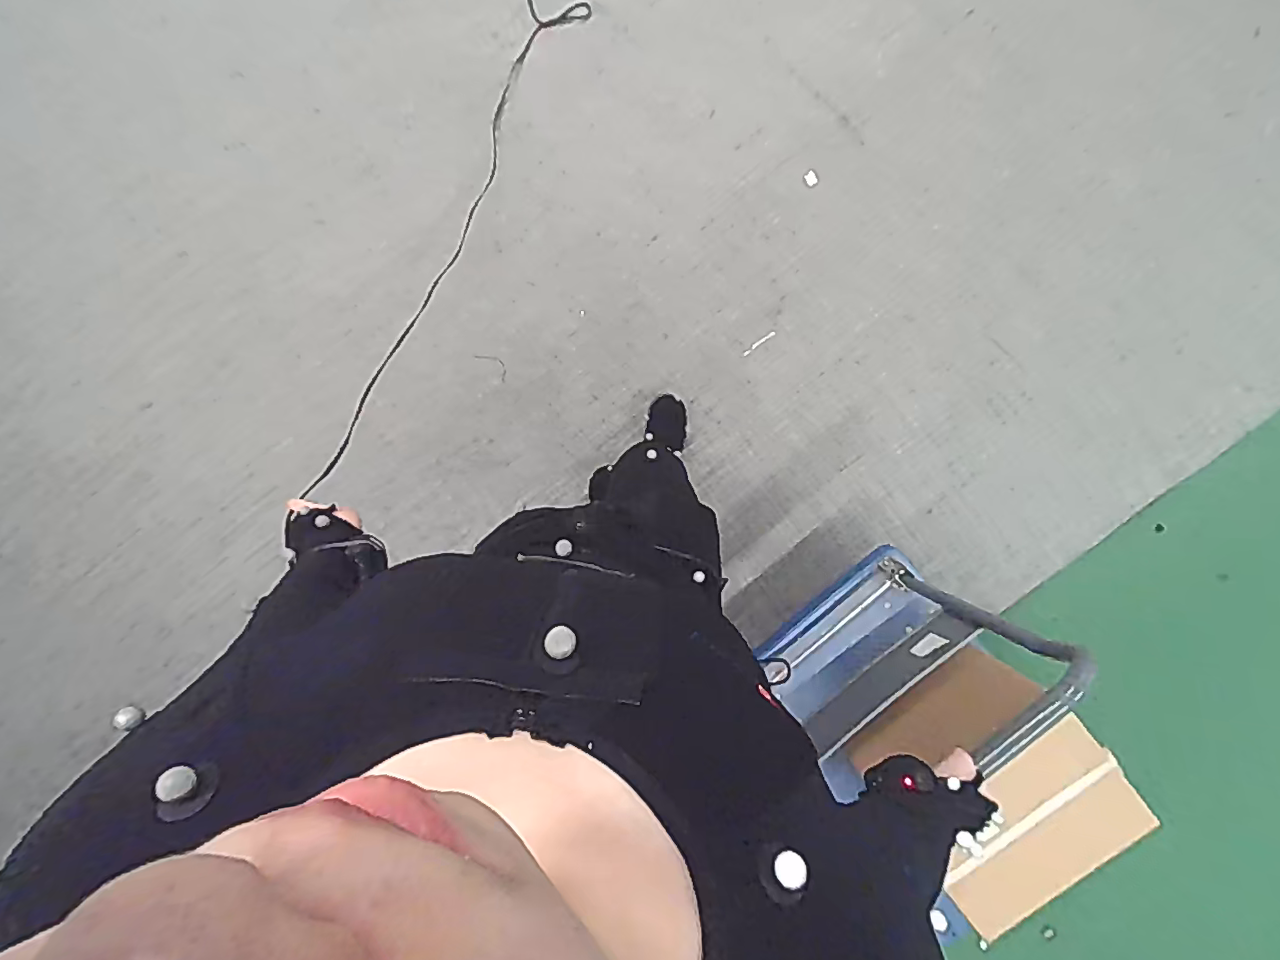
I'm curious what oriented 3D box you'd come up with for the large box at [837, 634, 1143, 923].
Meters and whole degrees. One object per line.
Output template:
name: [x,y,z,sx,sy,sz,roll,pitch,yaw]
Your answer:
large box: [0.727,0.620,1.191,0.408,0.320,0.320,-39,91,4]
